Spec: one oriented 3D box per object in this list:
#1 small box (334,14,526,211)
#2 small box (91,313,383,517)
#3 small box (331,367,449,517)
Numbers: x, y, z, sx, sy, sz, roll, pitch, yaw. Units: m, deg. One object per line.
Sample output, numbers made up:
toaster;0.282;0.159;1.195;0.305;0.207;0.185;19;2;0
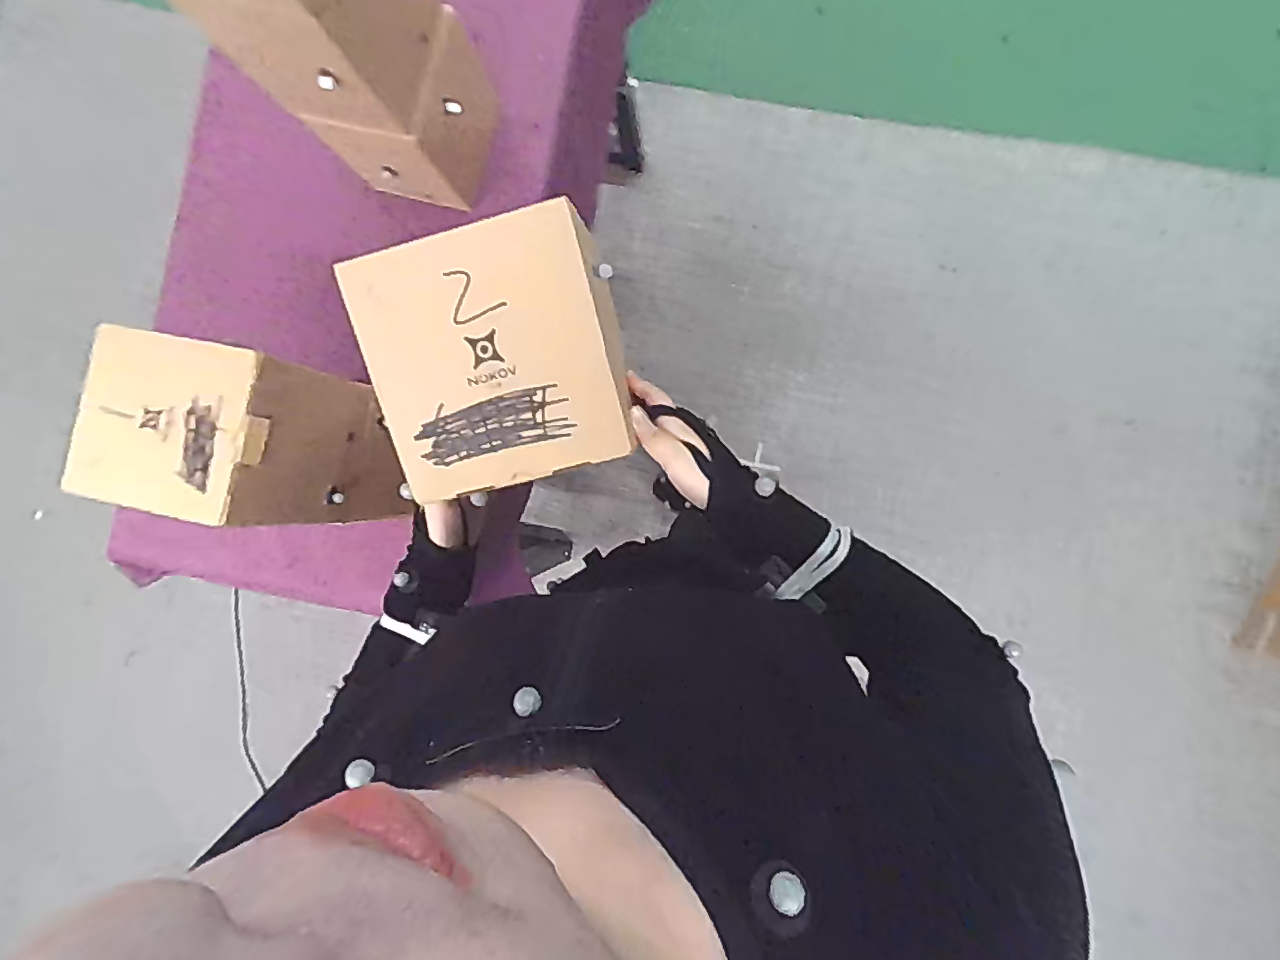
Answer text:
small box;-0.280;-0.517;0.763;0.168;0.176;0.179;19;90;8
small box;-0.421;-0.061;0.594;0.179;0.176;0.168;14;88;10
small box;-0.394;-0.052;0.757;0.168;0.176;0.179;15;88;8
